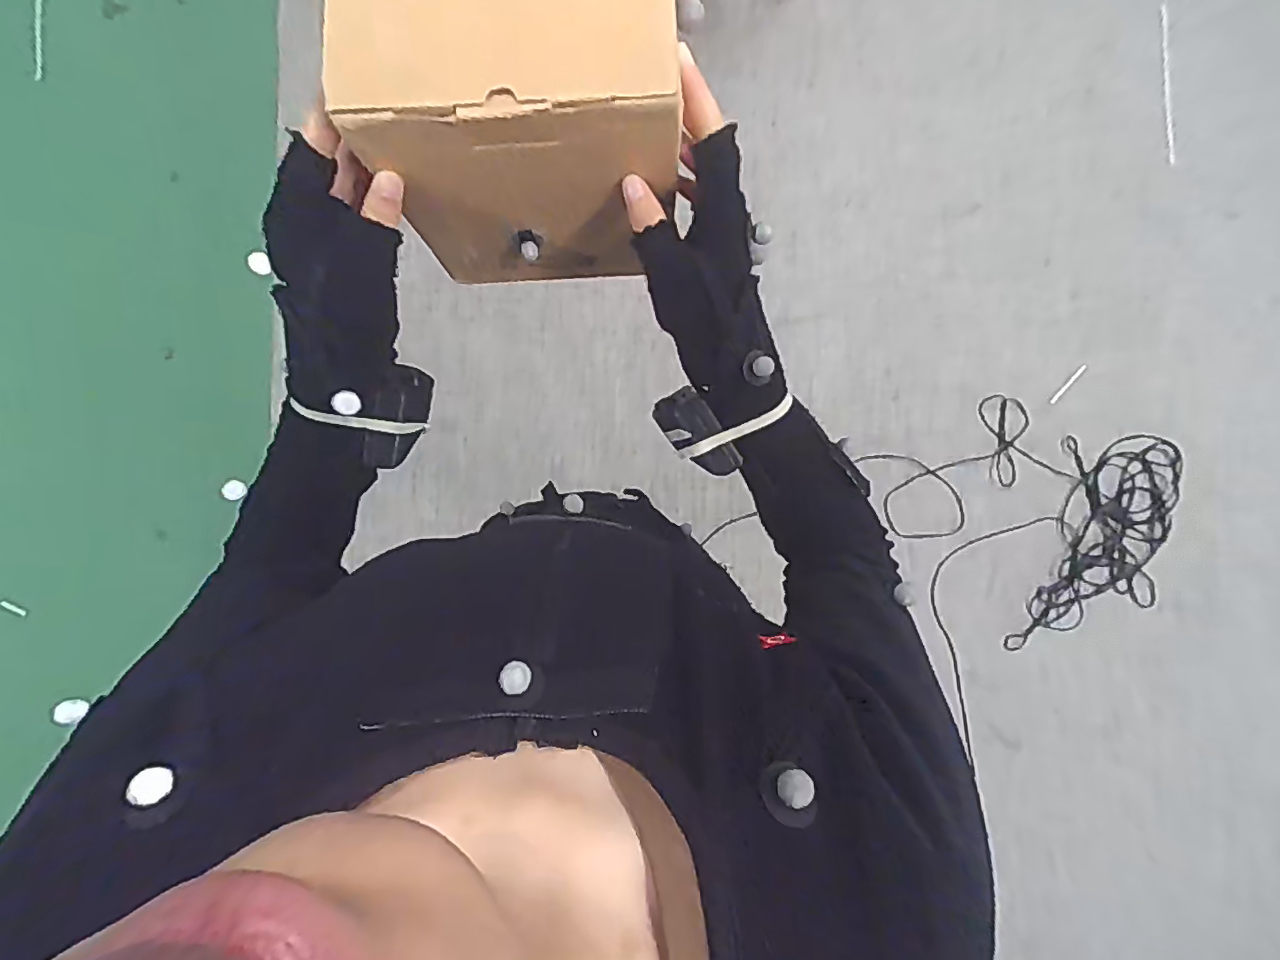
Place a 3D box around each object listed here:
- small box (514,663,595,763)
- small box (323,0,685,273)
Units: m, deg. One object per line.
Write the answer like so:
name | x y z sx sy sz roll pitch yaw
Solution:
small box | -0.209 0.585 1.374 0.168 0.176 0.179 8 87 -1
small box | -0.063 -0.251 0.333 0.168 0.176 0.179 -2 84 1
